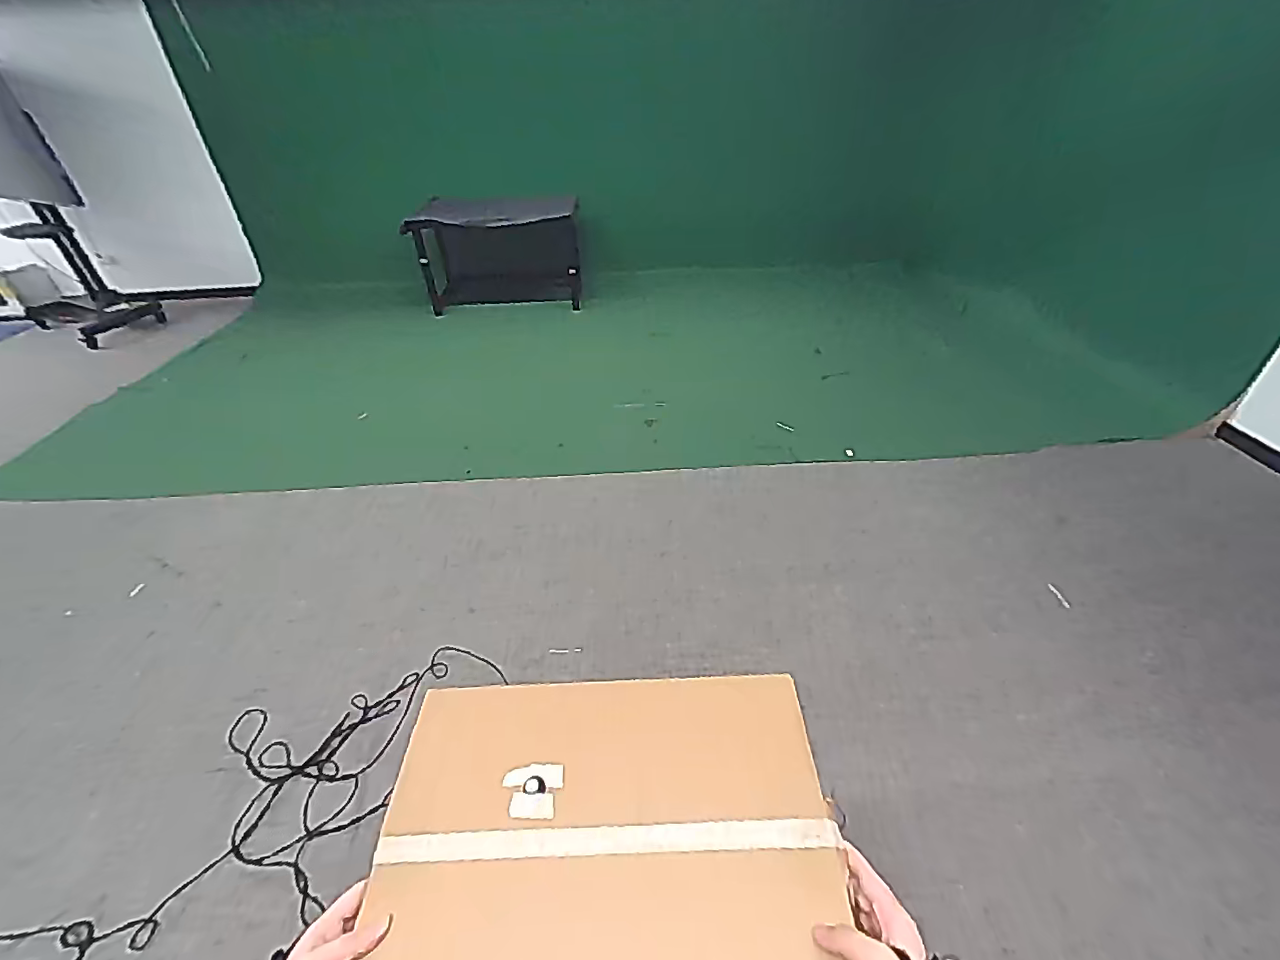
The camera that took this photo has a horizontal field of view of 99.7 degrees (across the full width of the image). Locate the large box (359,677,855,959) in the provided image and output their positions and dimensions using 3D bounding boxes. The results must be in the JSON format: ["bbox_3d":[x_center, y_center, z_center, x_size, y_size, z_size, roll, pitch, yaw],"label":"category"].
[{"bbox_3d":[-0.019,0.445,0.581,0.408,0.320,0.320,-5,39,3],"label":"large box"}]
